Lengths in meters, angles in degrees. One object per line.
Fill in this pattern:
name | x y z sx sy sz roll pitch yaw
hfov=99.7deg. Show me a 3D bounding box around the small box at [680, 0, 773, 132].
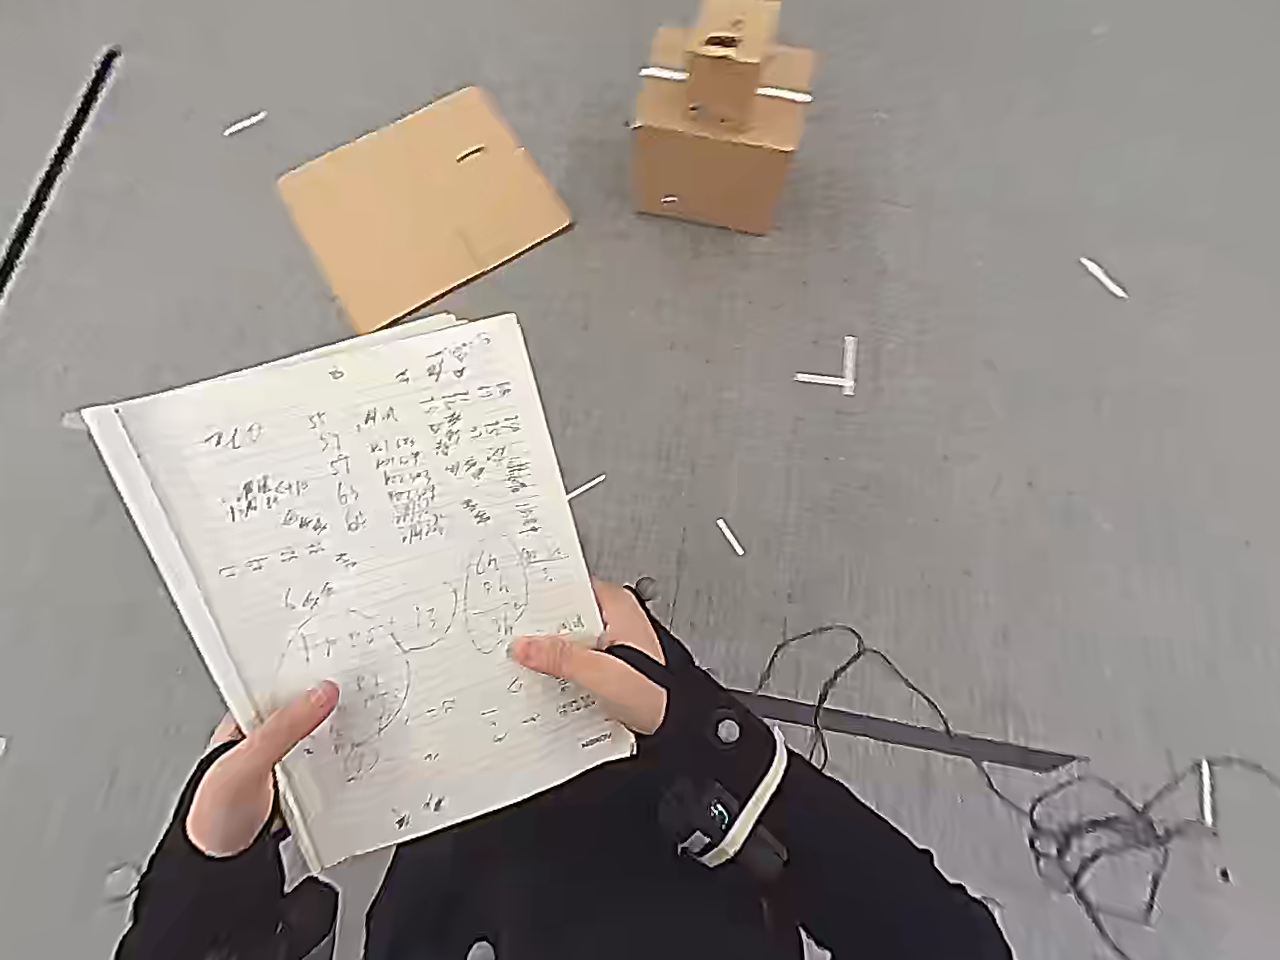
small box | 0.189 -0.940 1.233 0.168 0.176 0.179 15 78 4
